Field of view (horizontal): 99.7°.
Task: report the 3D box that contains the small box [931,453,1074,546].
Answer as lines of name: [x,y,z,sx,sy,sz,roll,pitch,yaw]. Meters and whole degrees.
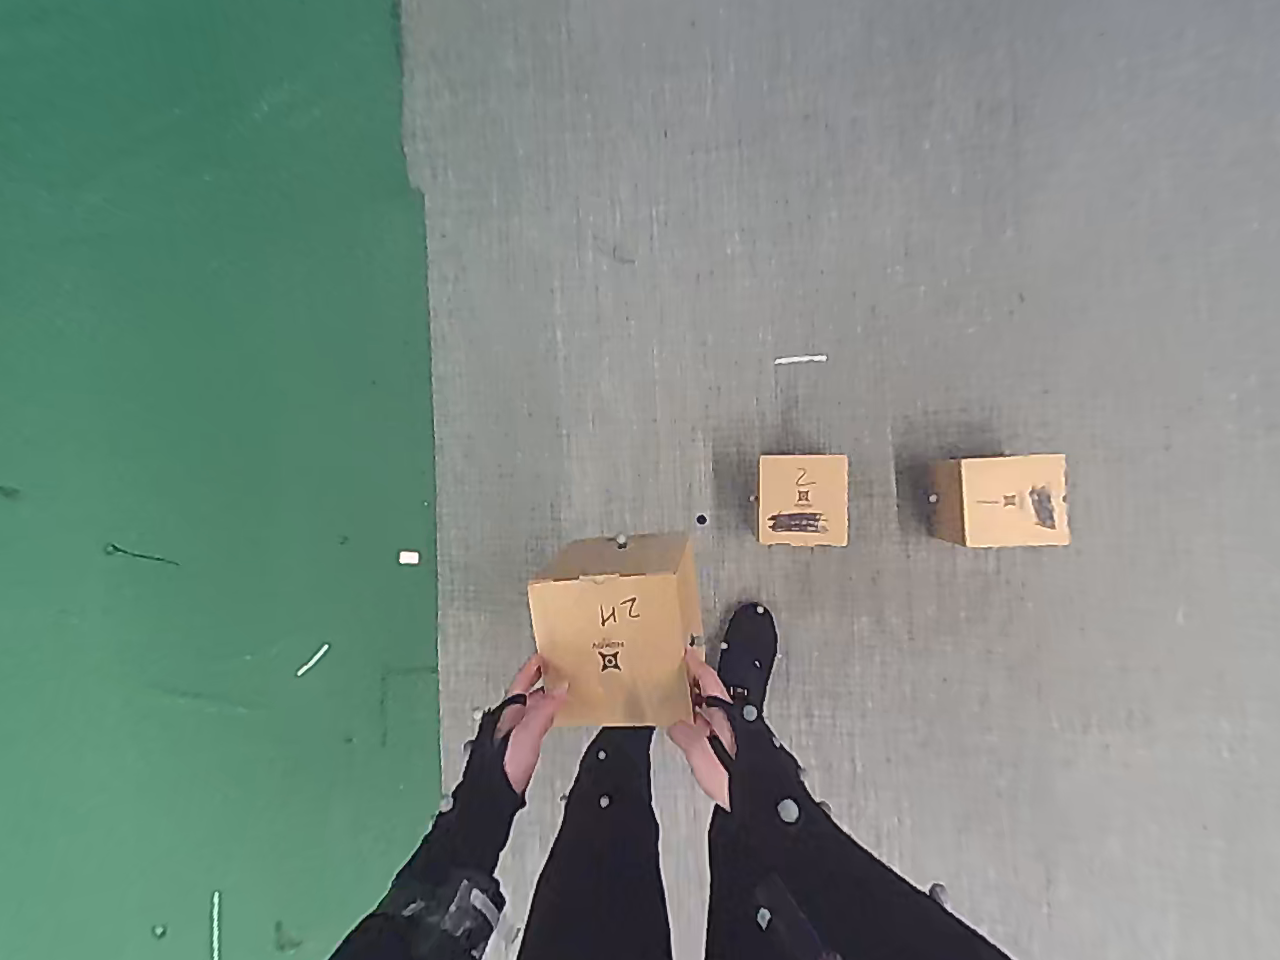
small box: [0.686,0.035,1.040,0.179,0.176,0.168,-3,89,10]

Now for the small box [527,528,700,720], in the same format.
small box: [-0.020,0.167,0.662,0.168,0.176,0.179,-5,98,11]
